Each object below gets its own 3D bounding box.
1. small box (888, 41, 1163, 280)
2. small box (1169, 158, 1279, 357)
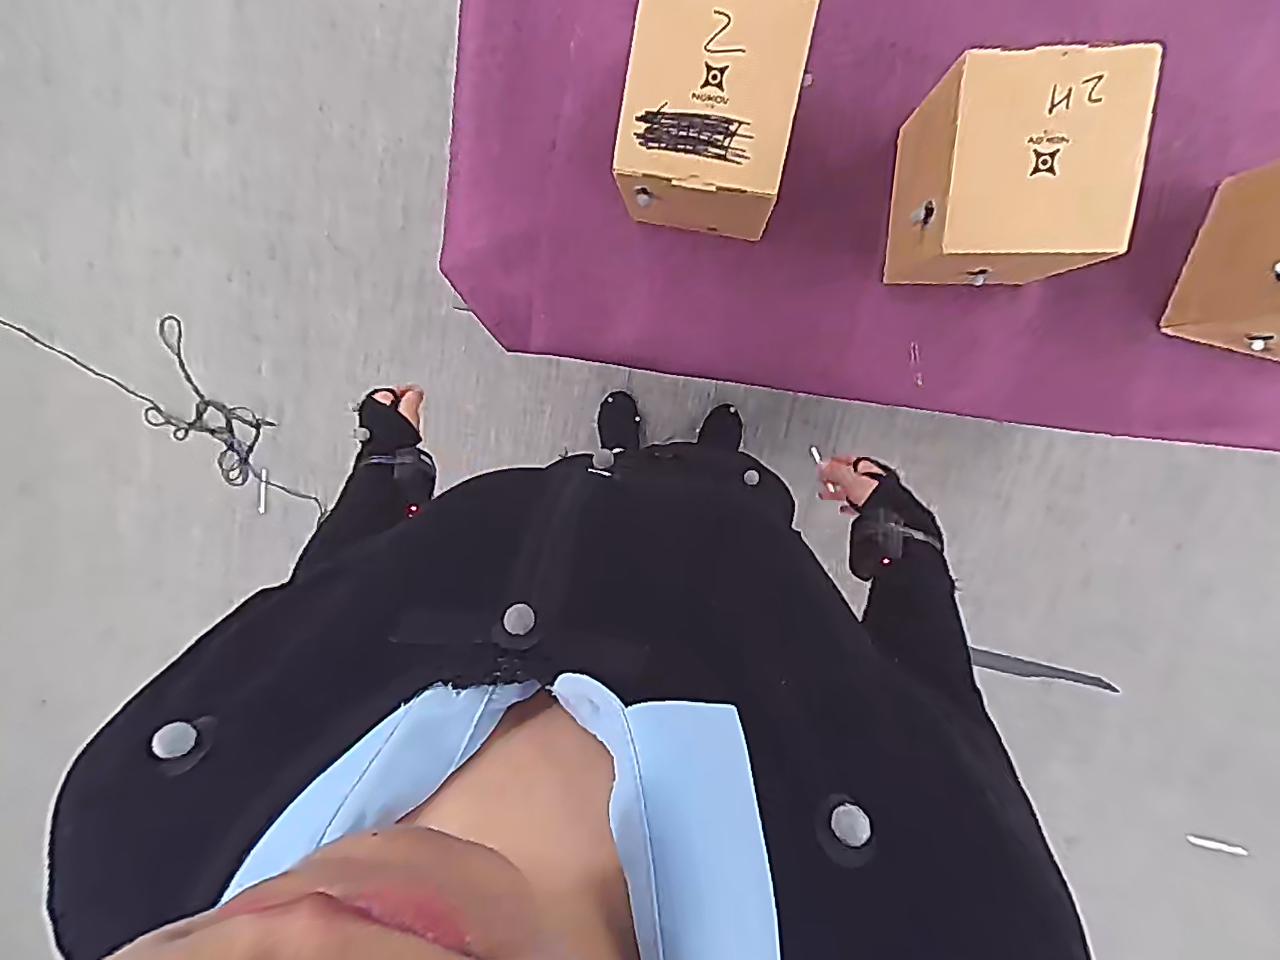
[{"bbox_3d":[0.378,-0.314,0.570,0.168,0.176,0.179,2,100,5],"label":"small box"},{"bbox_3d":[0.713,-0.233,0.550,0.168,0.176,0.179,16,101,3],"label":"small box"}]
